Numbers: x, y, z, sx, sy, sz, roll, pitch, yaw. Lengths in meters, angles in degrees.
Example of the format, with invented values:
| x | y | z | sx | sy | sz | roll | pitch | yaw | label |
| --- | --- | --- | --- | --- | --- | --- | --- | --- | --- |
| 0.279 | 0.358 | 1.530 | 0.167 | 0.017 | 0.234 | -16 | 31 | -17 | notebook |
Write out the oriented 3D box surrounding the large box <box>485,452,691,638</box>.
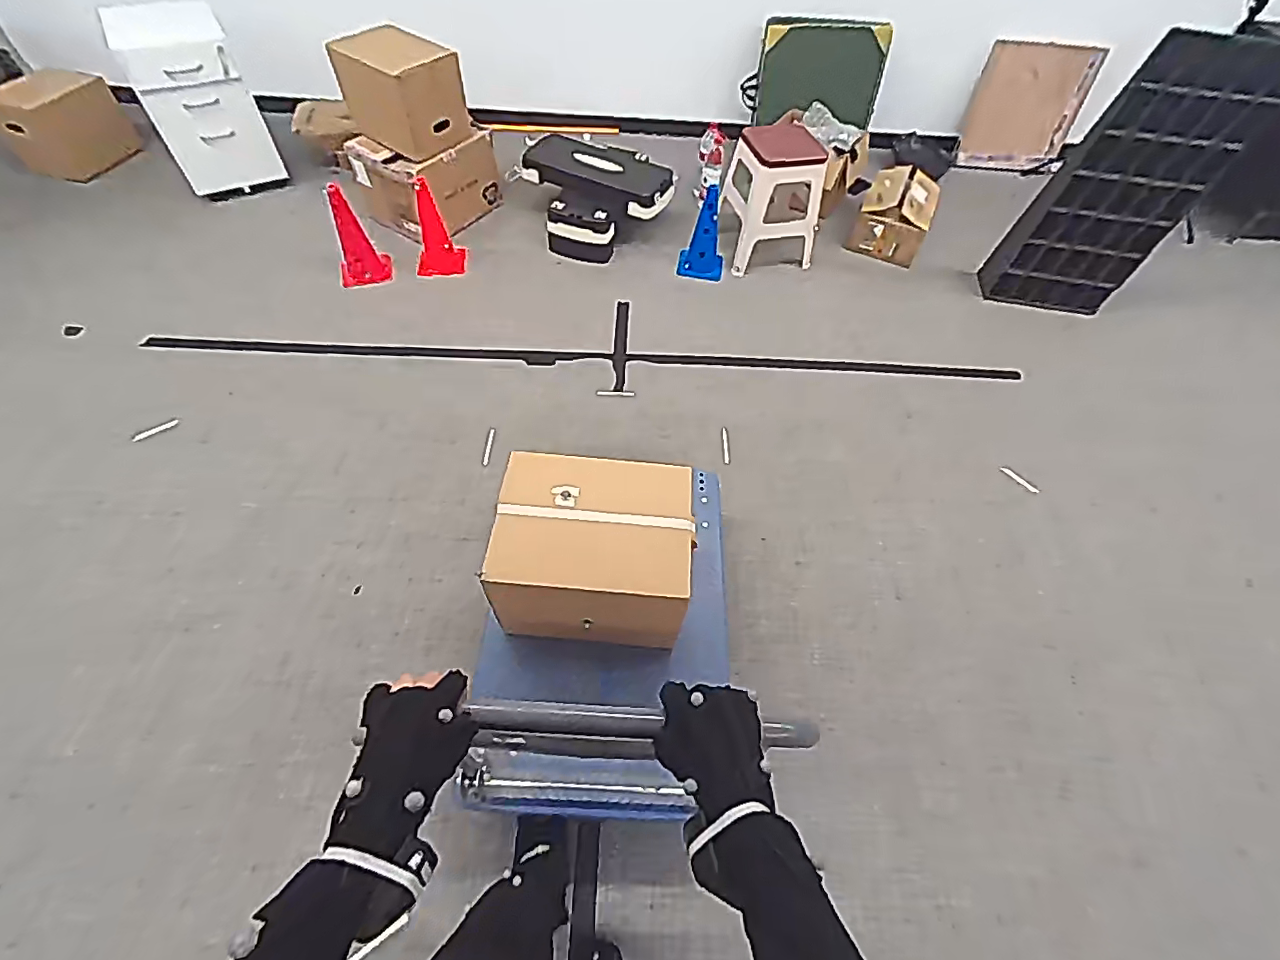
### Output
| x | y | z | sx | sy | sz | roll | pitch | yaw | label |
| --- | --- | --- | --- | --- | --- | --- | --- | --- | --- |
| -0.098 | 0.159 | 1.245 | 0.408 | 0.320 | 0.320 | 5 | 56 | 0 | large box |
